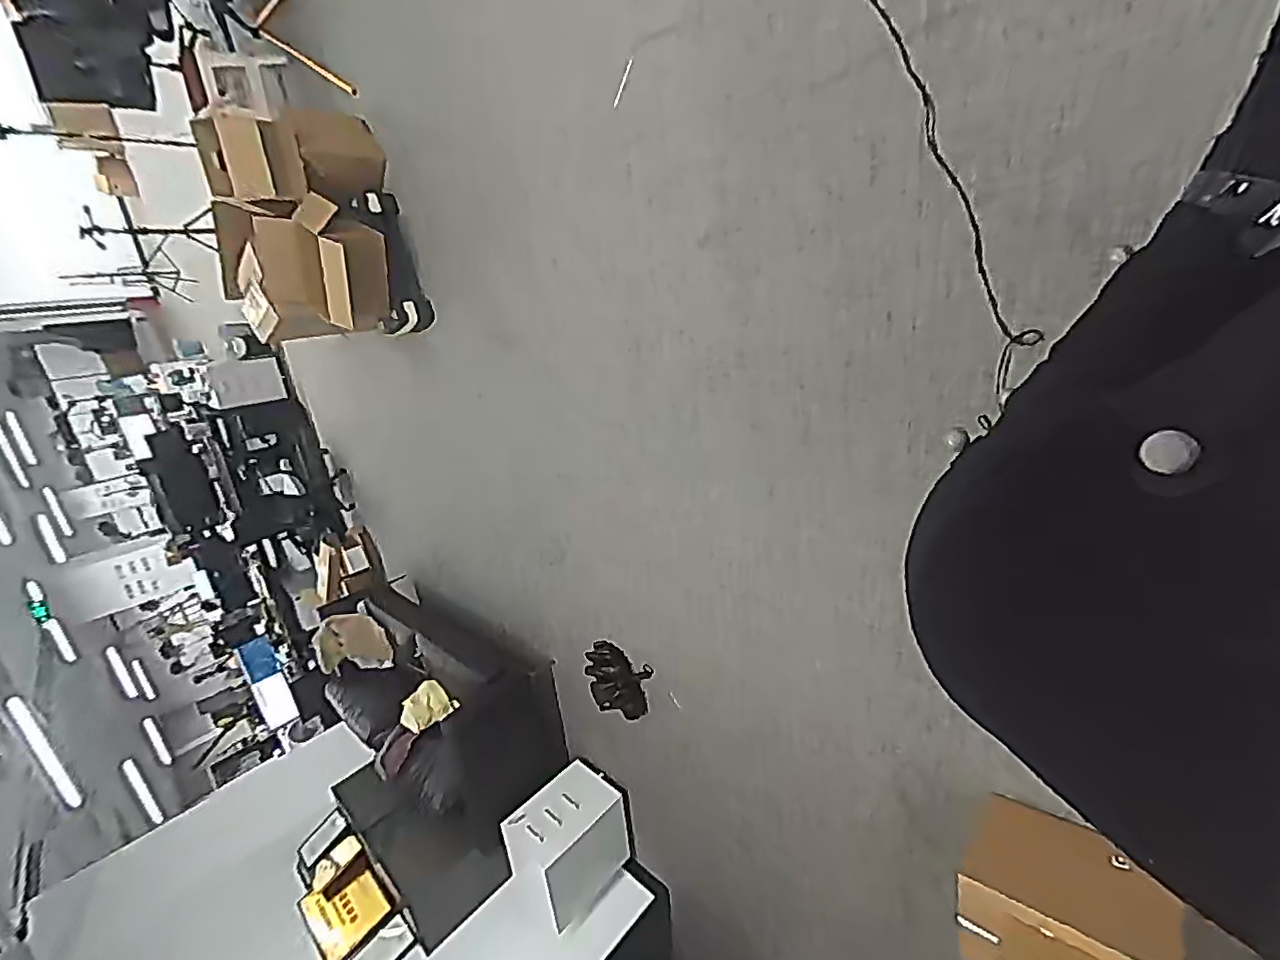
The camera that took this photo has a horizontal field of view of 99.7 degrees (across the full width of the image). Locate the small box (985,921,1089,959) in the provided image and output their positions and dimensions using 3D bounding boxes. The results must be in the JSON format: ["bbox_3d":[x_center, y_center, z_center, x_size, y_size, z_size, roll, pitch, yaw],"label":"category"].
[{"bbox_3d":[0.894,1.150,1.210,0.179,0.176,0.168,-4,105,48],"label":"small box"}]
